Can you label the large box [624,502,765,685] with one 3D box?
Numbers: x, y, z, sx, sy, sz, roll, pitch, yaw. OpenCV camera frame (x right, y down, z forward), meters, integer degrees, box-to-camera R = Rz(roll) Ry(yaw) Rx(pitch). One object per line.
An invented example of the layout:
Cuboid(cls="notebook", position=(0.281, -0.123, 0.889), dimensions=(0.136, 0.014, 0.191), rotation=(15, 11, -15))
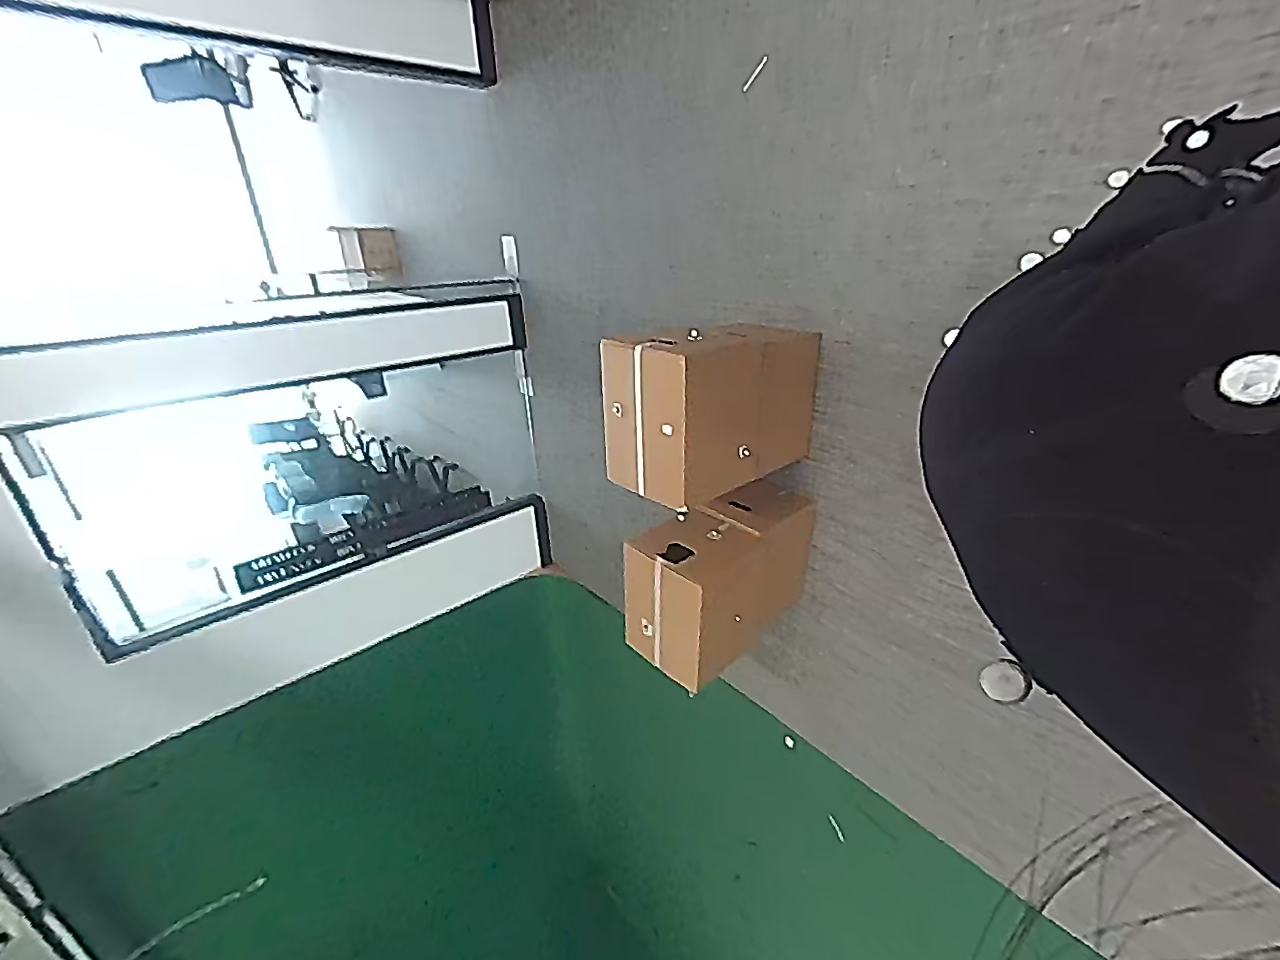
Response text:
Cuboid(cls="large box", position=(0.170, 0.338, 1.702), dimensions=(0.320, 0.320, 0.408), rotation=(25, 127, 40))
